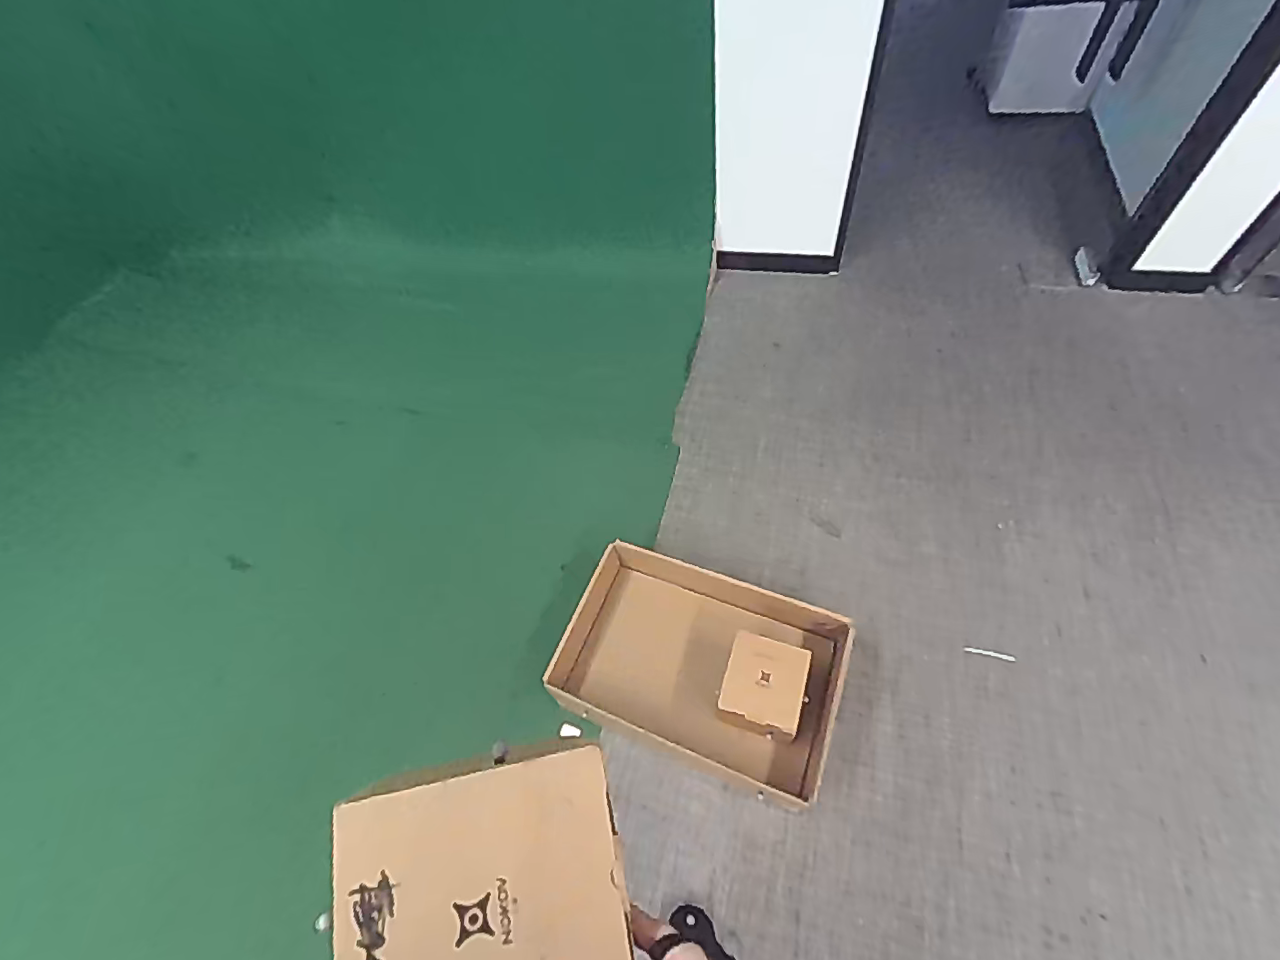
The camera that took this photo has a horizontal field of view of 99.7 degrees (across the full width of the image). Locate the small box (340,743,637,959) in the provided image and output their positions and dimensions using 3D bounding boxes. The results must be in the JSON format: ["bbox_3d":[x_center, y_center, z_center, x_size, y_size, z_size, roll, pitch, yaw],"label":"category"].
[{"bbox_3d":[-0.112,0.306,0.409,0.179,0.176,0.168,-5,68,-17],"label":"small box"}]
